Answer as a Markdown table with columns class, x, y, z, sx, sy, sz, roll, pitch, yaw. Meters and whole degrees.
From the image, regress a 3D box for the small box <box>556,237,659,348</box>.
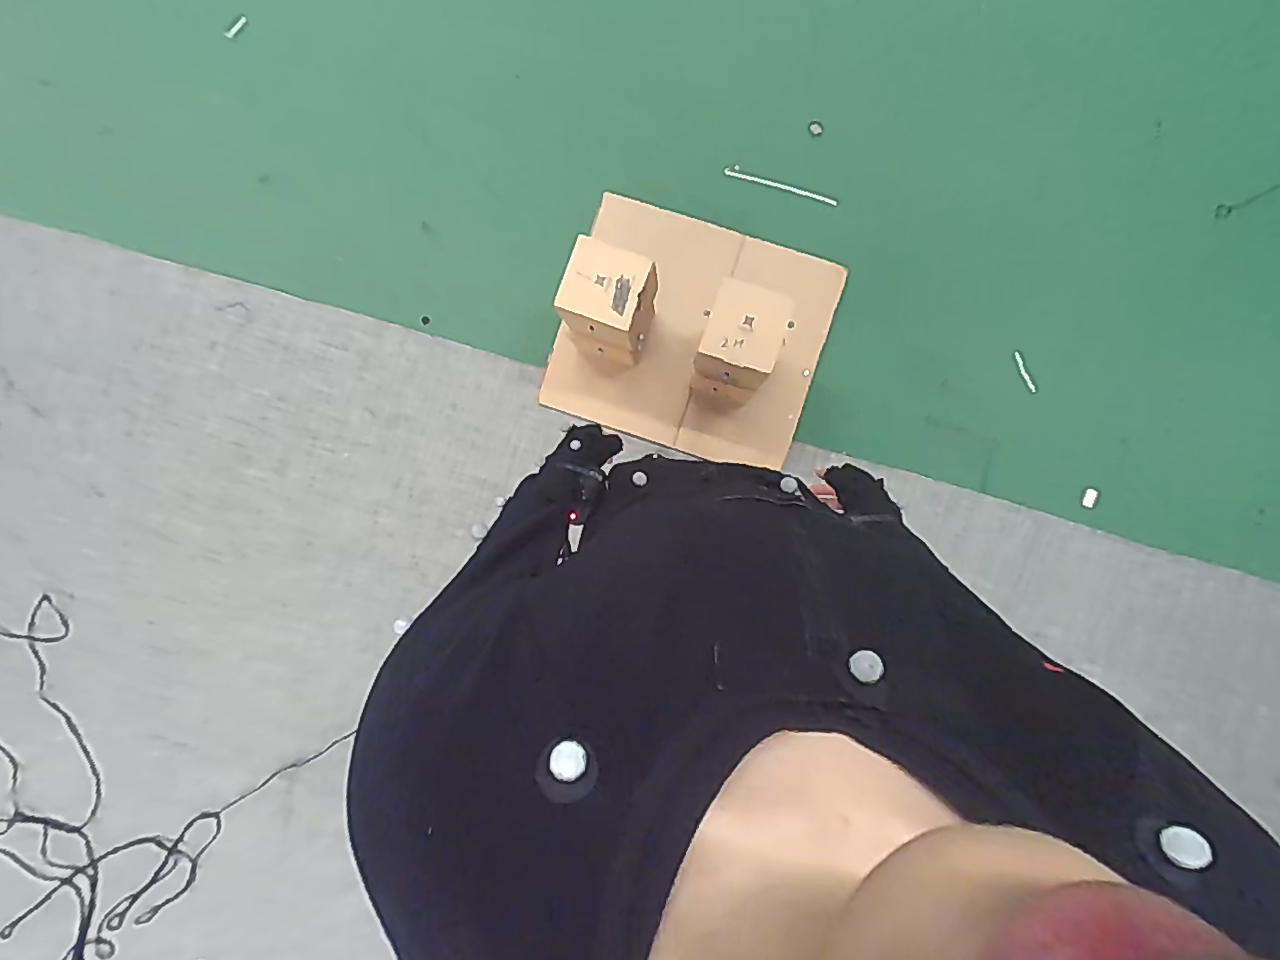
| class | x | y | z | sx | sy | sz | roll | pitch | yaw |
| --- | --- | --- | --- | --- | --- | --- | --- | --- | --- |
| small box | -0.064 | -0.413 | 1.226 | 0.179 | 0.176 | 0.168 | 21 | 91 | 5 |

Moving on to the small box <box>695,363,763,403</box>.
| class | x | y | z | sx | sy | sz | roll | pitch | yaw |
| --- | --- | --- | --- | --- | --- | --- | --- | --- | --- |
| small box | 0.240 | -0.311 | 1.377 | 0.168 | 0.176 | 0.179 | 17 | 91 | 3 |

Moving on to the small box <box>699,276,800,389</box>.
| class | x | y | z | sx | sy | sz | roll | pitch | yaw |
| --- | --- | --- | --- | --- | --- | --- | --- | --- | --- |
| small box | 0.235 | -0.322 | 1.211 | 0.168 | 0.176 | 0.179 | 19 | 91 | 4 |
